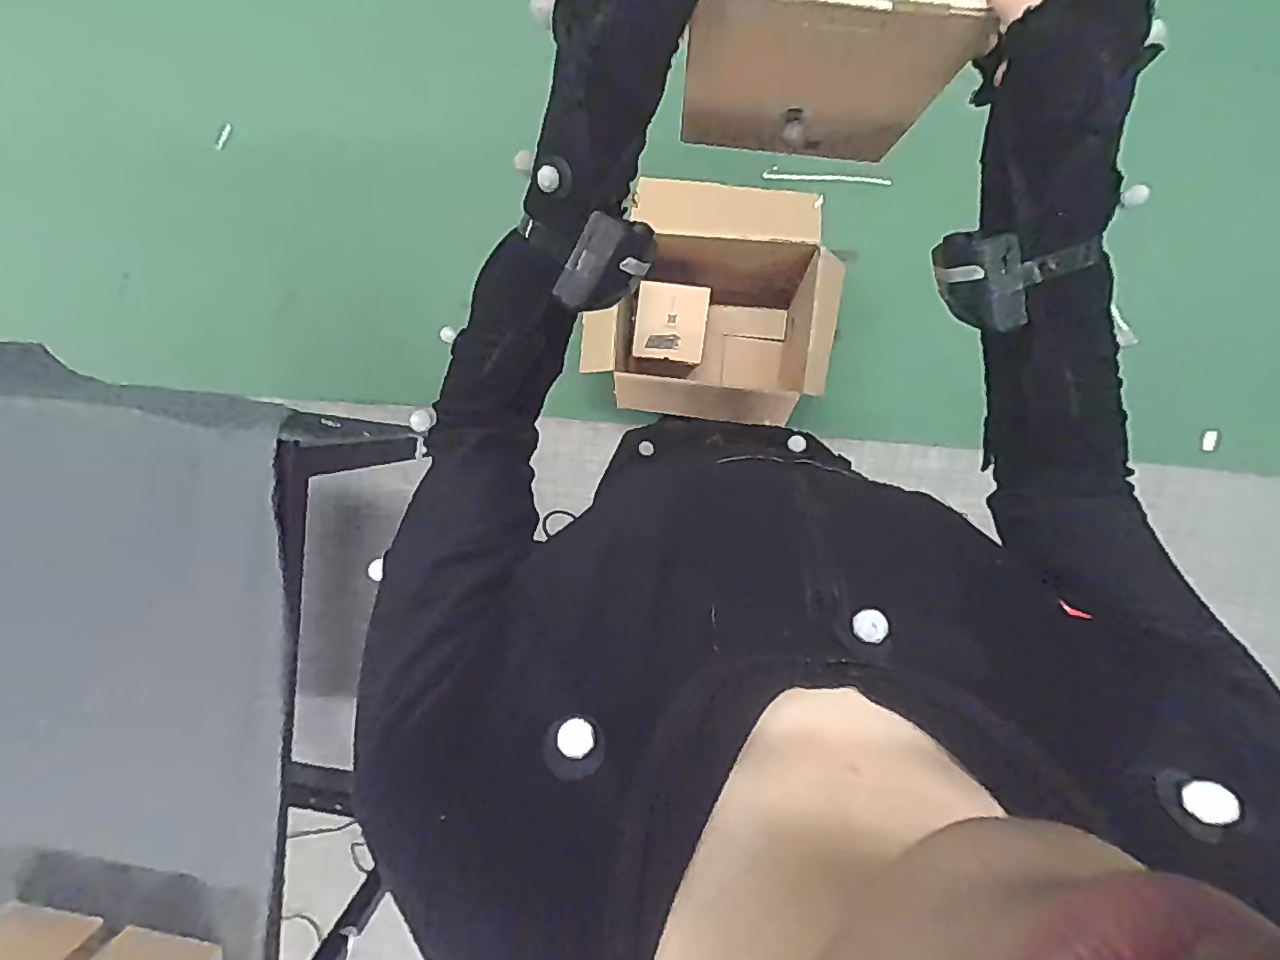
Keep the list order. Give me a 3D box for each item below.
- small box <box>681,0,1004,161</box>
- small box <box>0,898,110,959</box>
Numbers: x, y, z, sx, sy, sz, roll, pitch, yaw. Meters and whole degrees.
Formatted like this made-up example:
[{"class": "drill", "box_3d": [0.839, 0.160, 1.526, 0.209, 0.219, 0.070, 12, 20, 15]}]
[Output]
[{"class": "small box", "box_3d": [0.119, -0.345, 0.351, 0.168, 0.176, 0.179, 7, 97, 1]}, {"class": "small box", "box_3d": [-0.995, 0.804, 0.842, 0.179, 0.176, 0.168, 9, 97, 3]}]
